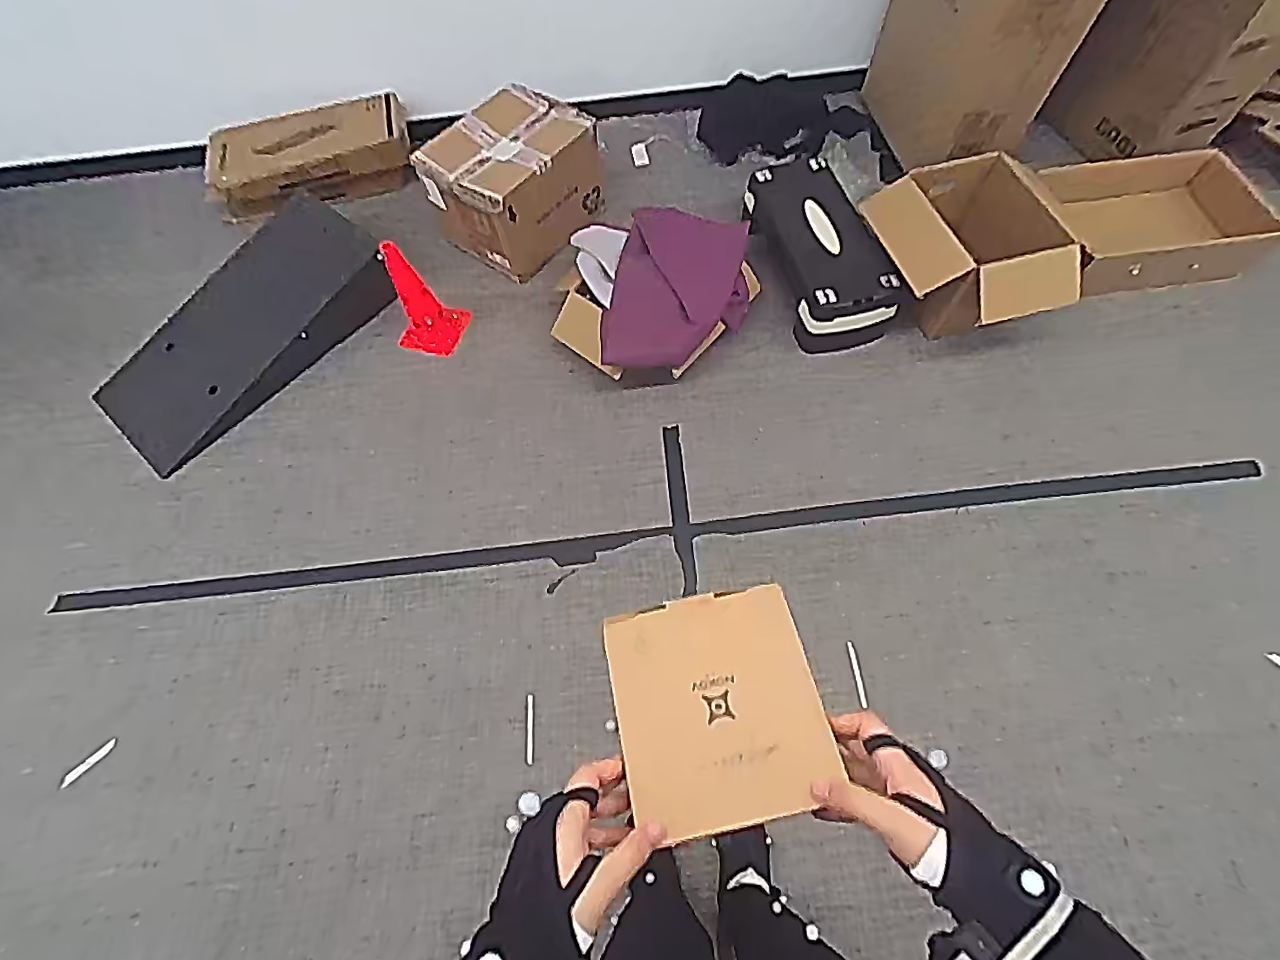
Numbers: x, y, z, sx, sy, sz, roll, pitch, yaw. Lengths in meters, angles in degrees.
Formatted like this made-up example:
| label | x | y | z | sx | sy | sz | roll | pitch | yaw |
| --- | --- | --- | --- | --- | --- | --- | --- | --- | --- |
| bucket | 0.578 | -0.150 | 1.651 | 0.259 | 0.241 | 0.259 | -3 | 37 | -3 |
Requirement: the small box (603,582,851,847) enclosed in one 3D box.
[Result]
| label | x | y | z | sx | sy | sz | roll | pitch | yaw |
| --- | --- | --- | --- | --- | --- | --- | --- | --- | --- |
| small box | 0.064 | 0.218 | 0.503 | 0.168 | 0.176 | 0.179 | -11 | 60 | -3 |
